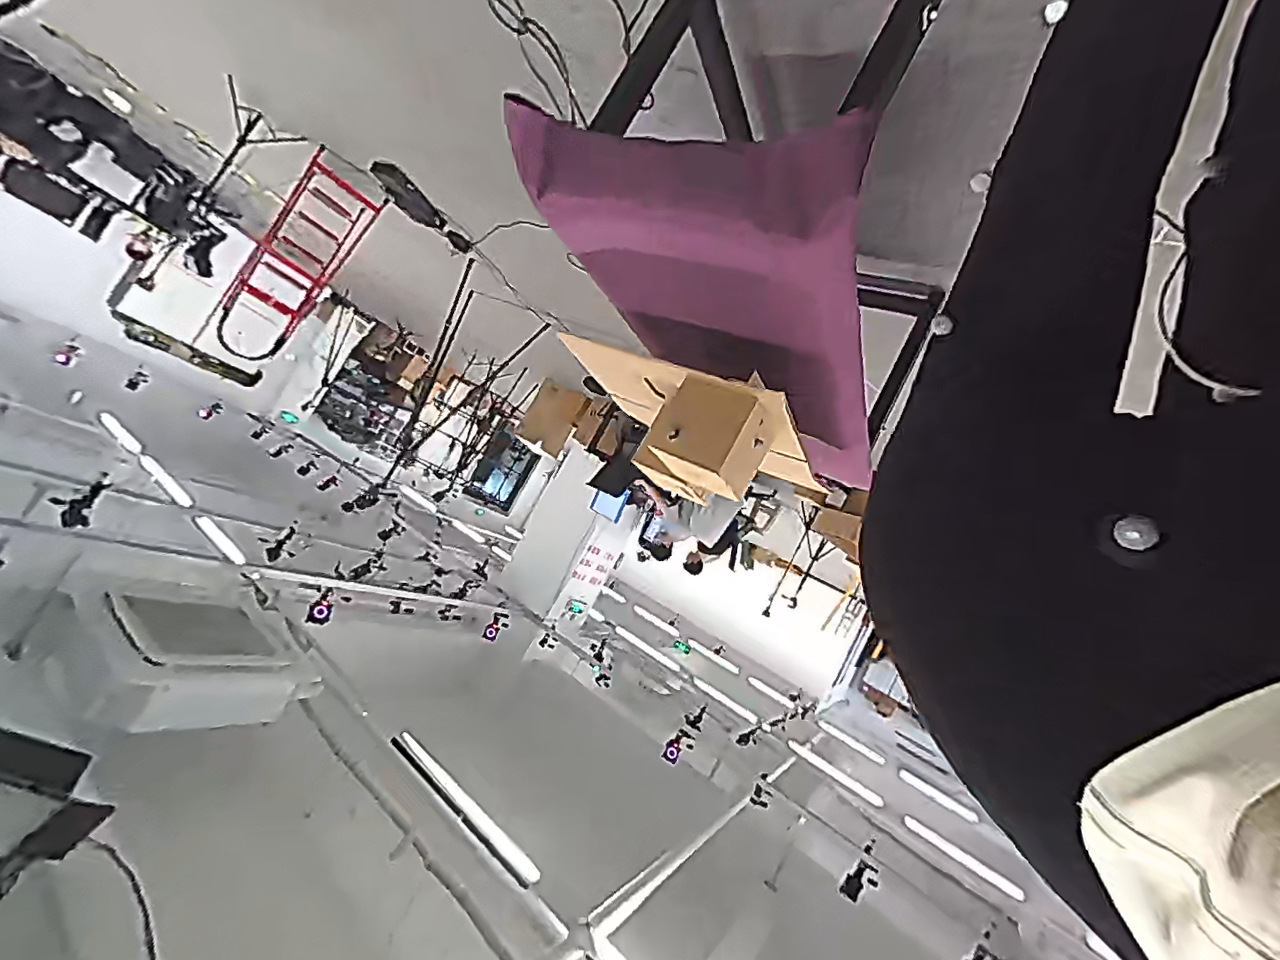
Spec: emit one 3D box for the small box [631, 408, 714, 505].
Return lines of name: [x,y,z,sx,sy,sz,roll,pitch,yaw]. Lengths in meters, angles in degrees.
small box: [0.114,-0.063,1.387,0.179,0.176,0.168,25,171,33]

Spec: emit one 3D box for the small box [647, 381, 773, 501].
small box: [0.150,-0.085,1.125,0.179,0.176,0.168,24,171,32]
